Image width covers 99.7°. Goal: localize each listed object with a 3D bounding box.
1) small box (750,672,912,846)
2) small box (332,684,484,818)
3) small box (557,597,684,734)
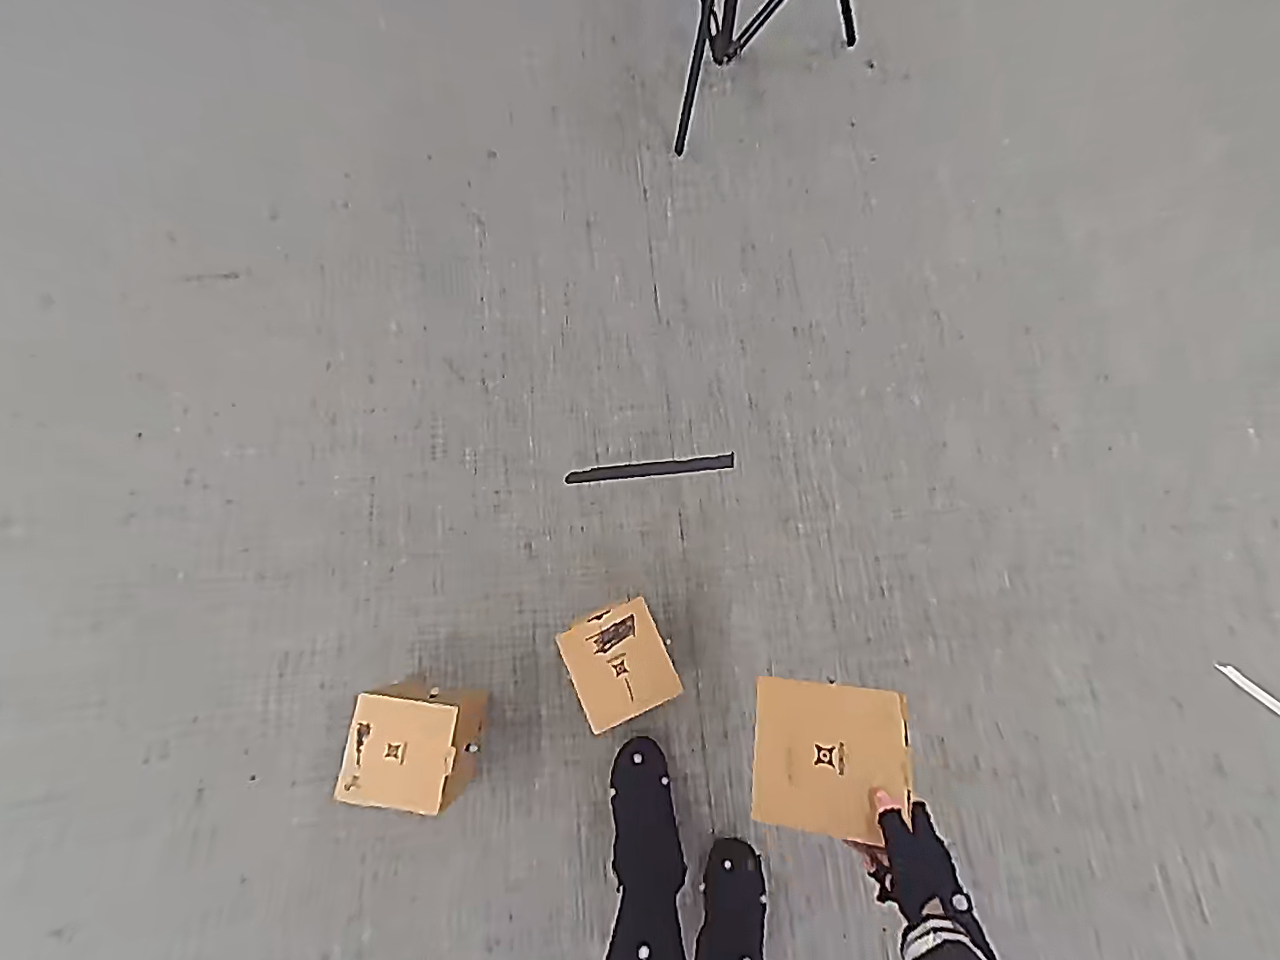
[{"bbox_3d":[0.244,0.352,0.710,0.179,0.176,0.168,0,66,18],"label":"small box"},{"bbox_3d":[-0.390,0.462,0.947,0.179,0.176,0.168,8,76,2],"label":"small box"},{"bbox_3d":[-0.035,0.327,0.978,0.168,0.176,0.179,-23,78,-6],"label":"small box"}]
